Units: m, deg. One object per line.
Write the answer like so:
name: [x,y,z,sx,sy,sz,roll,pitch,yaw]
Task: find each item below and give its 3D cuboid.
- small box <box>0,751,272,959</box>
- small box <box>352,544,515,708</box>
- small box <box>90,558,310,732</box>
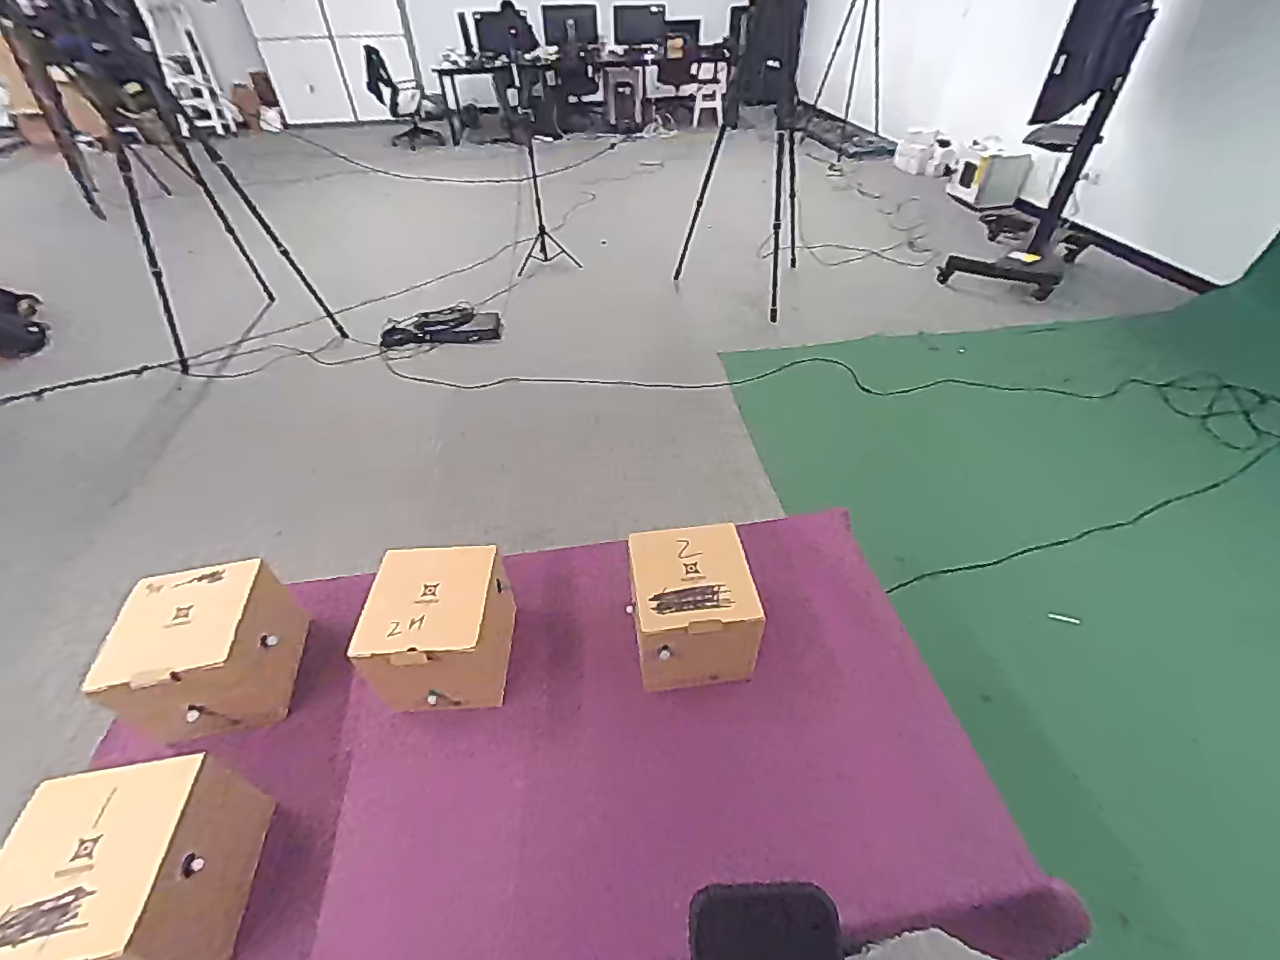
small box: [-0.545,0.429,0.590,0.168,0.176,0.179,-7,42,-6]
small box: [-0.288,0.217,0.804,0.168,0.176,0.179,-2,44,0]
small box: [-0.613,0.245,0.788,0.168,0.176,0.179,-10,45,-9]
